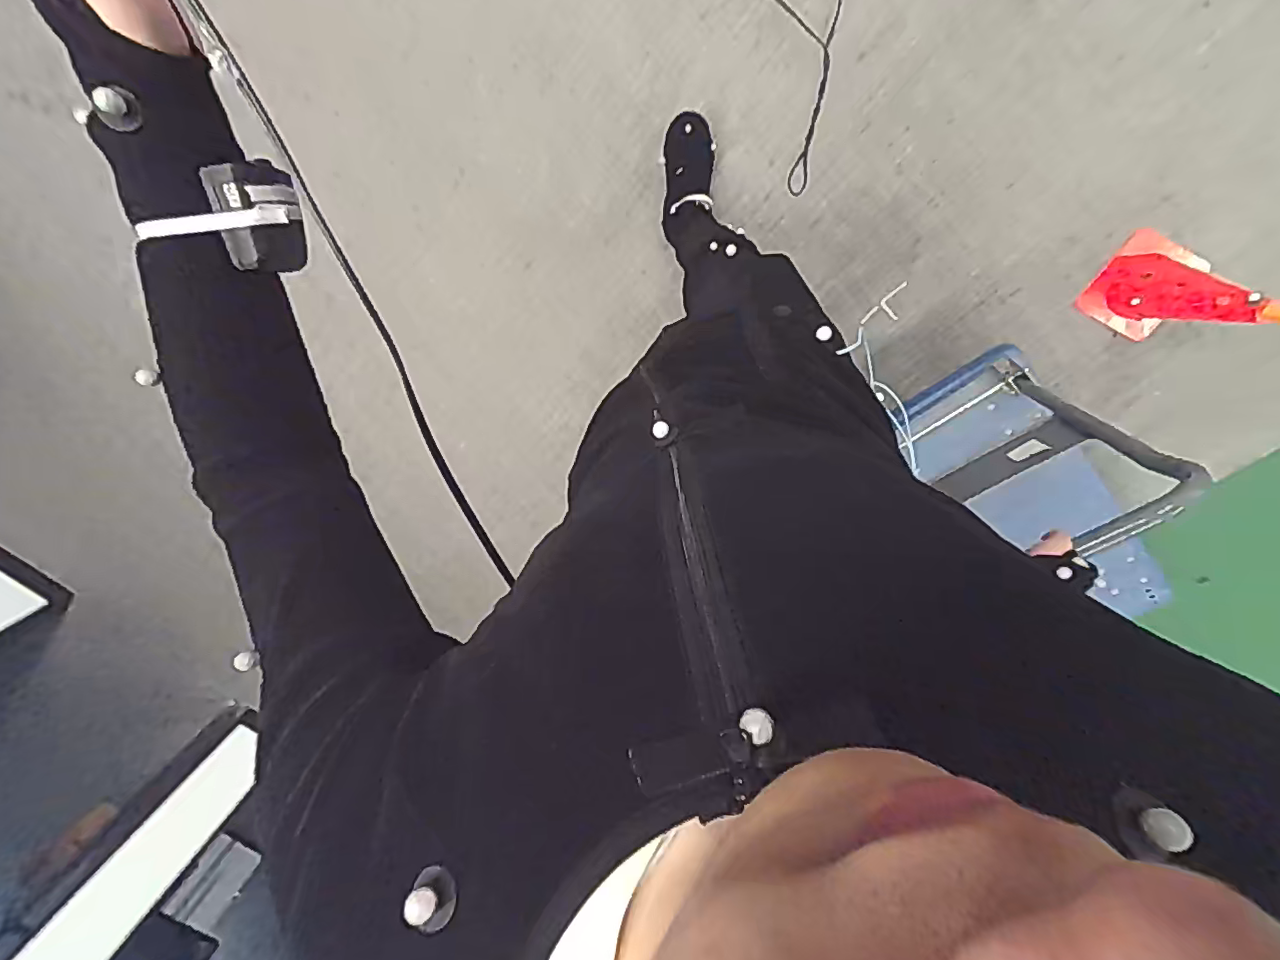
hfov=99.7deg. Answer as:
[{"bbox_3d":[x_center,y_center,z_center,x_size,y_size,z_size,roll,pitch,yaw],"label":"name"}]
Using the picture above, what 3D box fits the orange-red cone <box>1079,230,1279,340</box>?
[{"bbox_3d":[1.149,-0.378,1.115,0.198,0.360,0.199,28,117,-5],"label":"orange-red cone"}]
